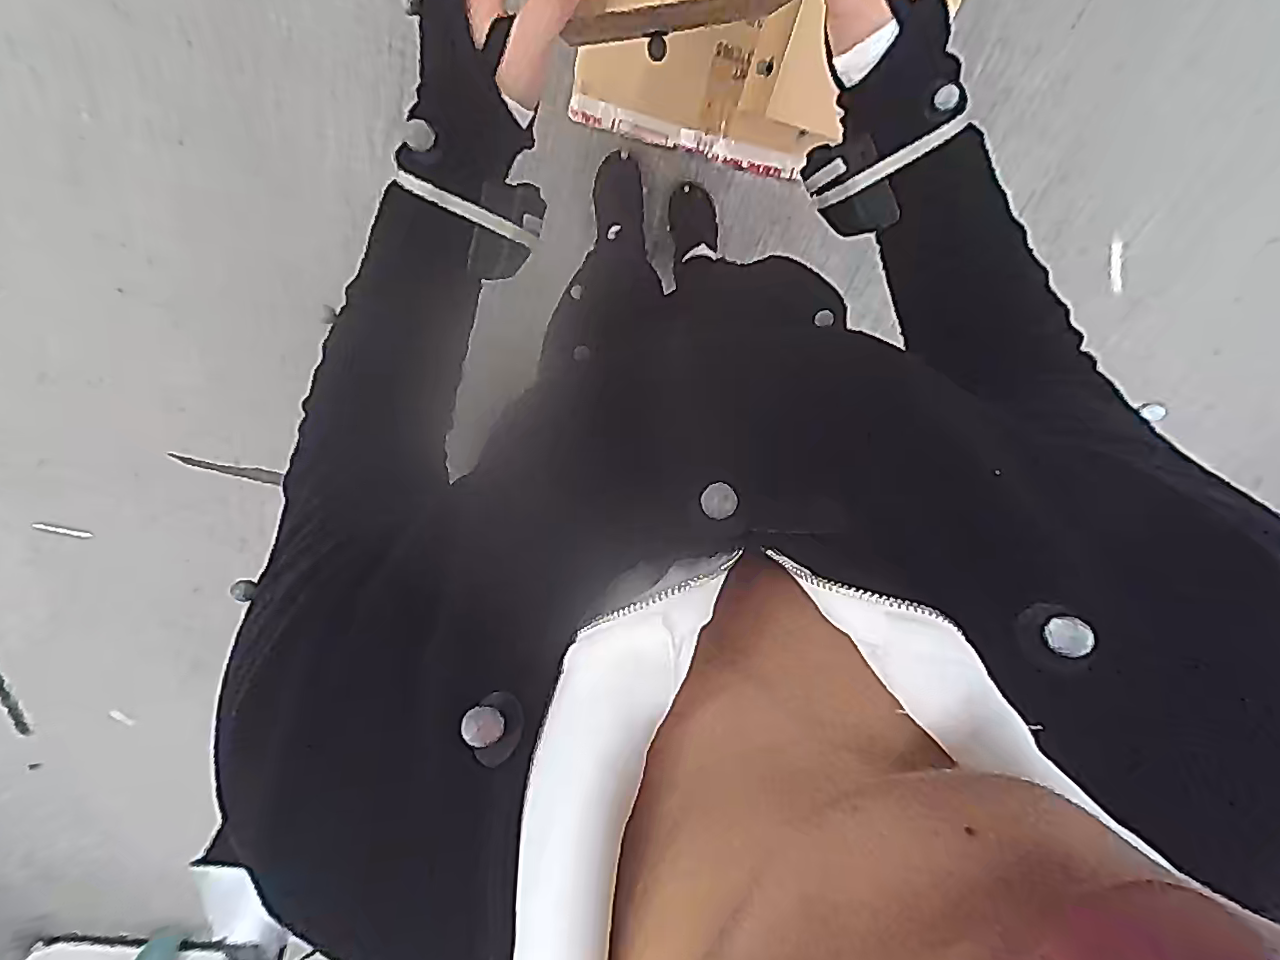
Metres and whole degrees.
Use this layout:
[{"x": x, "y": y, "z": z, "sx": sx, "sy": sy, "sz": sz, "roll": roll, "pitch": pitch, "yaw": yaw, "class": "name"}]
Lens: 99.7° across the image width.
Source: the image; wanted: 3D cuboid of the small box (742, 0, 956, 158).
[{"x": 0.234, "y": -0.519, "z": 0.655, "sx": 0.168, "sy": 0.176, "sz": 0.179, "roll": 10, "pitch": 125, "yaw": -11, "class": "small box"}]

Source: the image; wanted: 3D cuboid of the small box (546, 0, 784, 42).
[{"x": 0.014, "y": -0.388, "z": 0.322, "sx": 0.168, "sy": 0.176, "sz": 0.179, "roll": -7, "pitch": 126, "yaw": 3, "class": "small box"}]
